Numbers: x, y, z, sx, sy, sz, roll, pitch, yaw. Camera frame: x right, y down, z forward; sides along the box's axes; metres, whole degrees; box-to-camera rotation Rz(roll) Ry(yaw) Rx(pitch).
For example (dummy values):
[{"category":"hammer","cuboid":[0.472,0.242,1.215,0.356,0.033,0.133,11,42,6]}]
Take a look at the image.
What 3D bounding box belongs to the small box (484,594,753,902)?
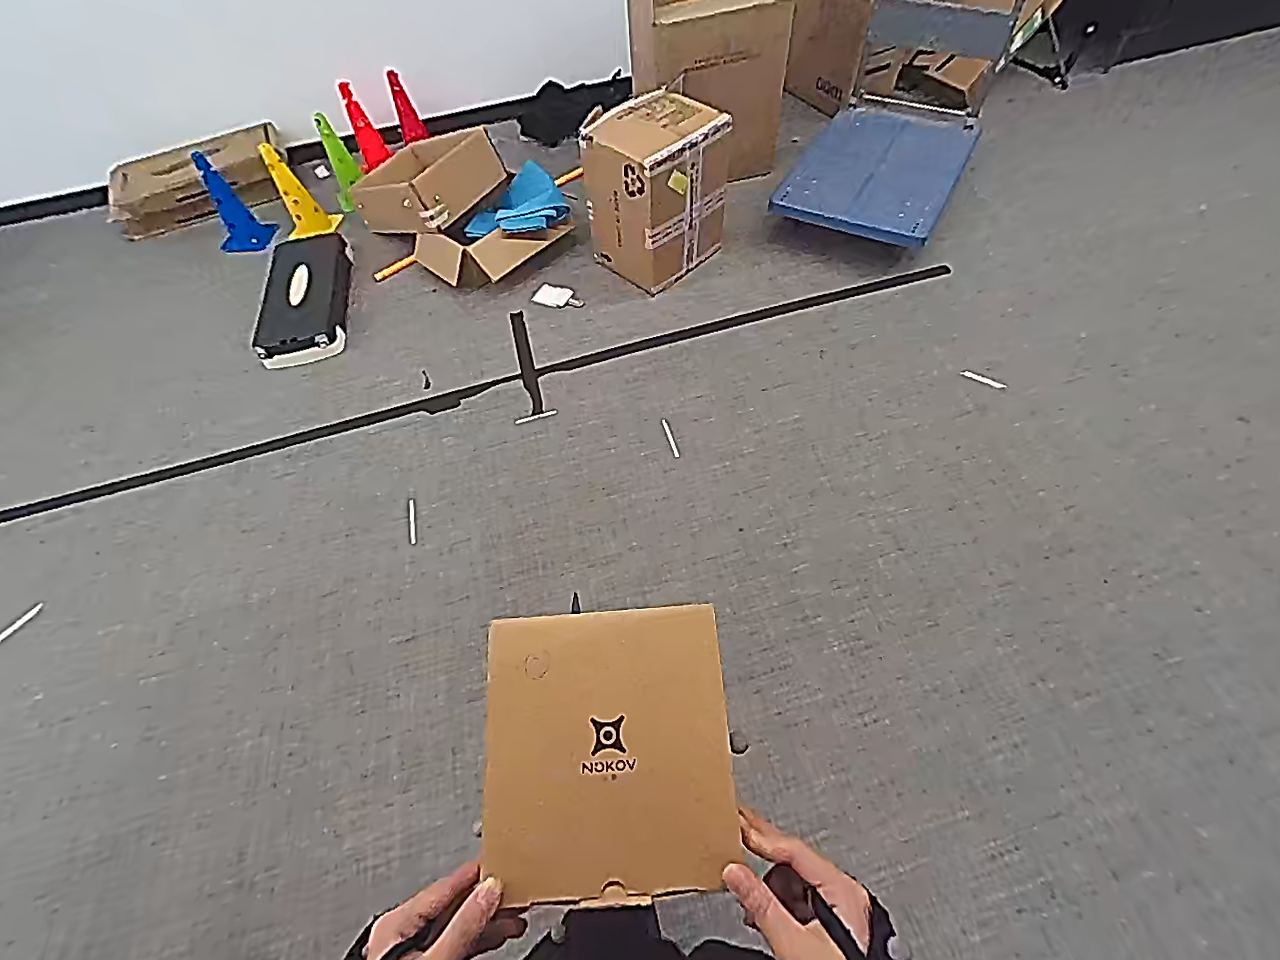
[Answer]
[{"category":"small box","cuboid":[-0.018,0.199,0.430,0.168,0.176,0.179,-4,67,-1]}]
